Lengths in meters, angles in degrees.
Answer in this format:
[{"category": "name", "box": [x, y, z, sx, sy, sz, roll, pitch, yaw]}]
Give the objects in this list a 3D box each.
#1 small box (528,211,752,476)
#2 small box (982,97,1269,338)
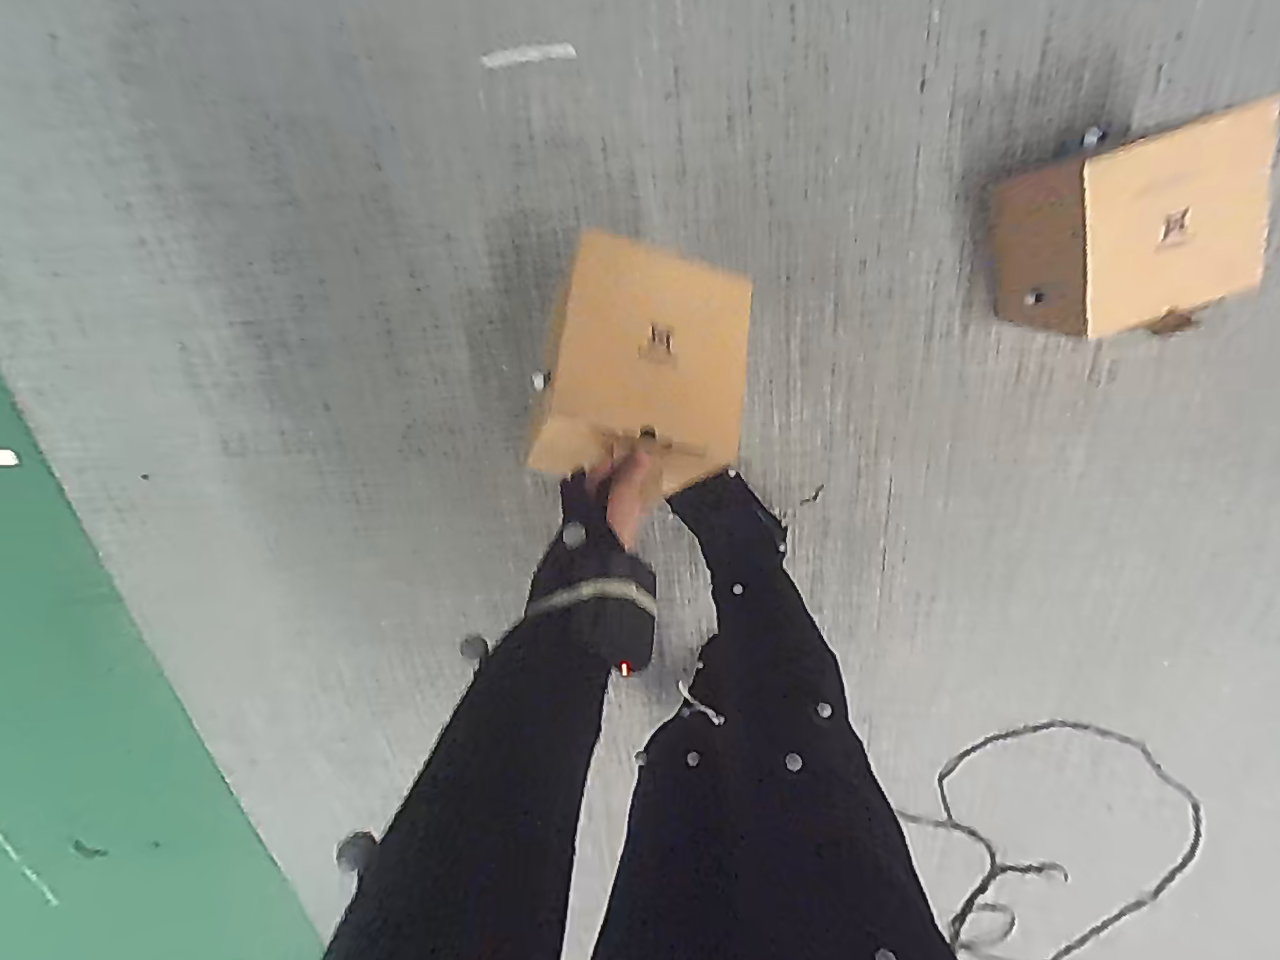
[{"category": "small box", "box": [-0.008, -0.114, 0.529, 0.168, 0.176, 0.179, 11, 77, -17]}, {"category": "small box", "box": [0.513, -0.278, 0.599, 0.168, 0.176, 0.179, -17, 111, 8]}]
